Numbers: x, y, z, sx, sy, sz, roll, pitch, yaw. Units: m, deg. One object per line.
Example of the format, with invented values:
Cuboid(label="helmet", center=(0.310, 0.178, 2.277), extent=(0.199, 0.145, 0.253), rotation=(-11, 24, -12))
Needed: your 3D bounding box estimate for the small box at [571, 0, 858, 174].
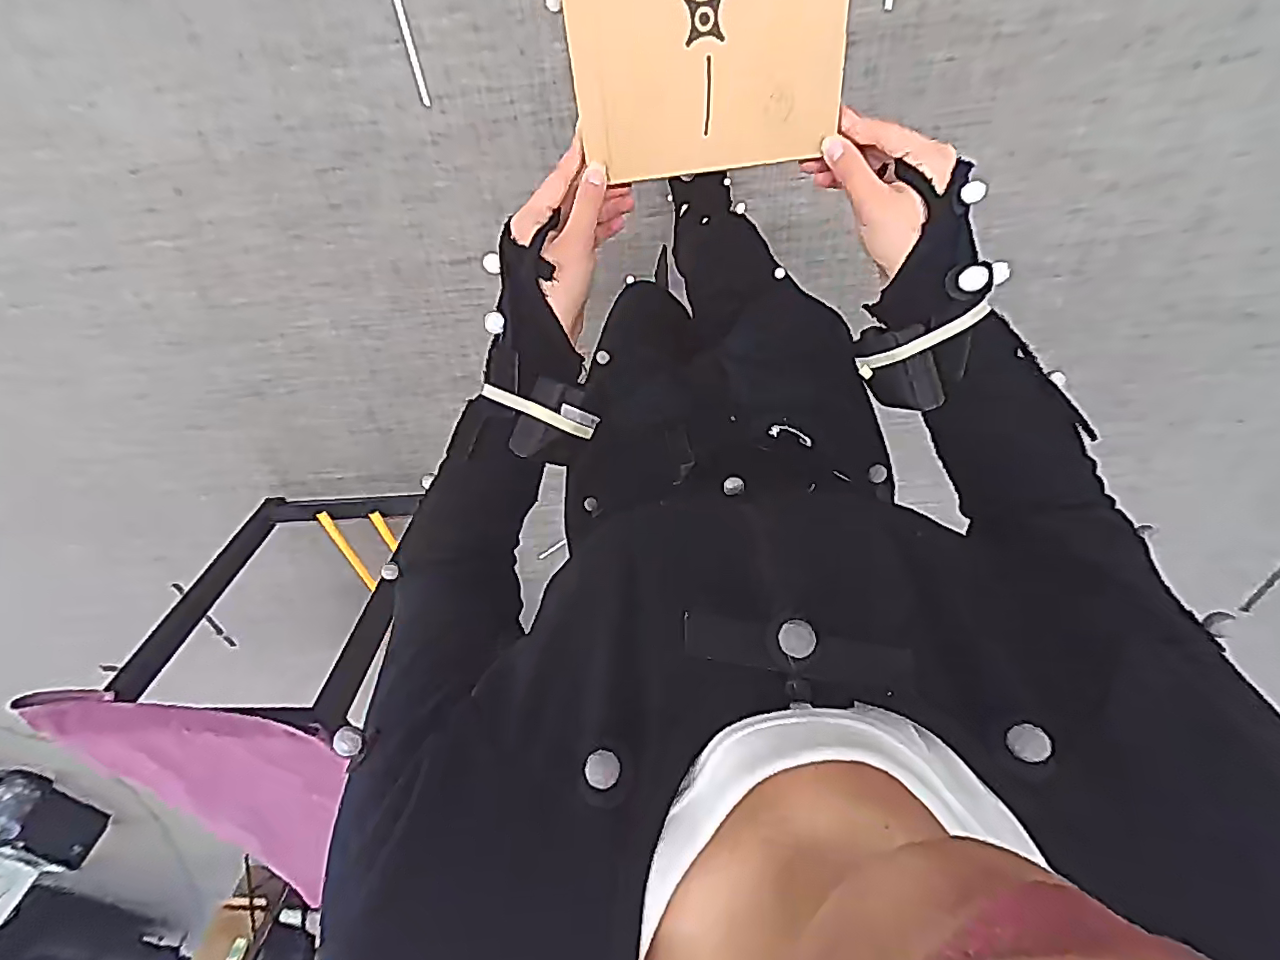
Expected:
Cuboid(label="small box", center=(0.038, -0.323, 0.366), extent=(0.168, 0.176, 0.179), rotation=(-6, 126, 2))
